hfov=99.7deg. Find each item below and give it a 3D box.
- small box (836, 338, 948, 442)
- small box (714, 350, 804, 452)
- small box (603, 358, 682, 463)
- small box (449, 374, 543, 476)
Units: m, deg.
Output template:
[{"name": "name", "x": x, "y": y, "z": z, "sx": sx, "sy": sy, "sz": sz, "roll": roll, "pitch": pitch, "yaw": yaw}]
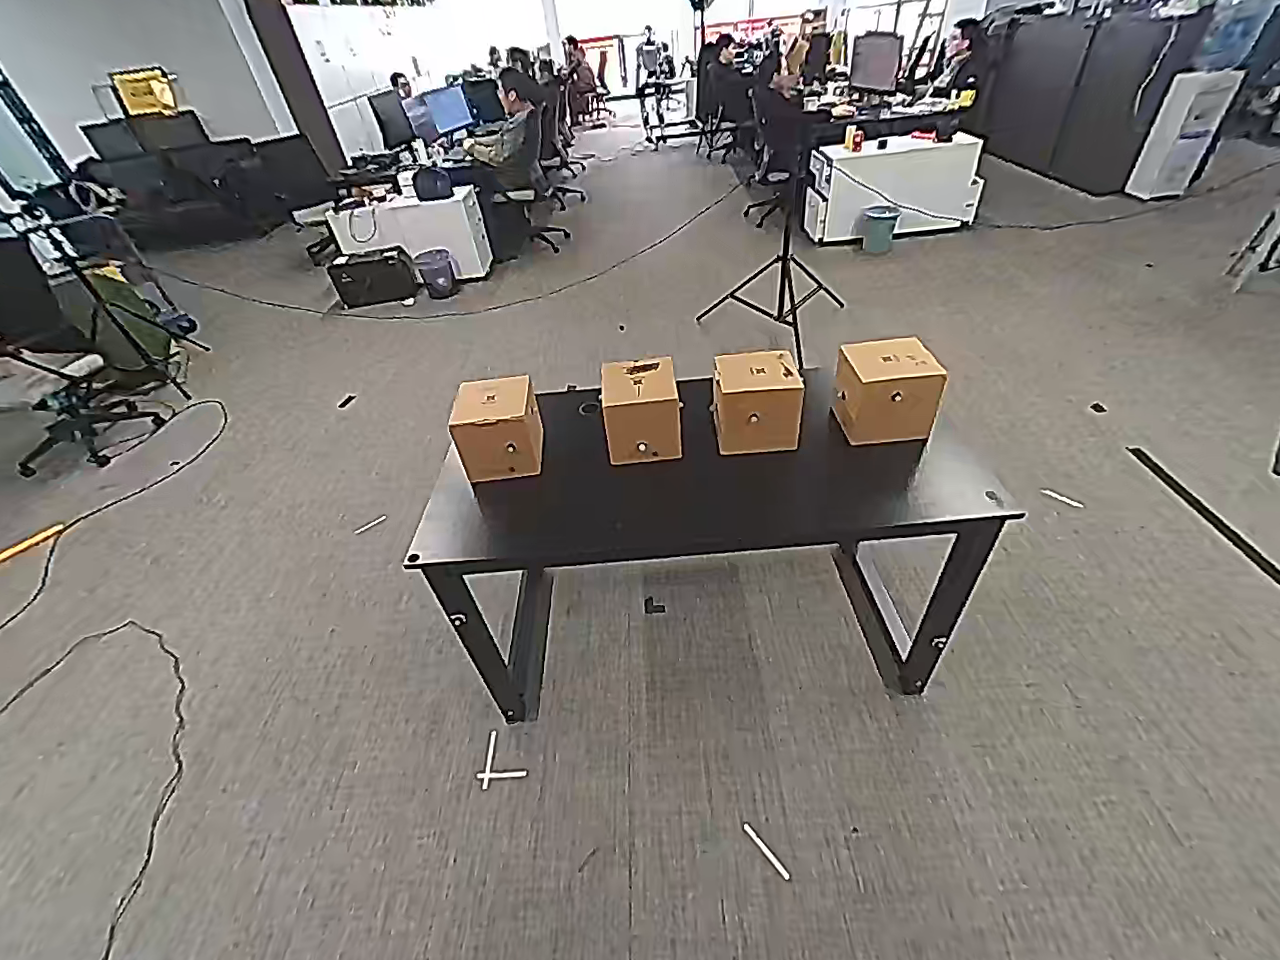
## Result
[{"name": "small box", "x": 0.552, "y": -0.198, "z": 1.216, "sx": 0.179, "sy": 0.176, "sz": 0.168, "roll": -5, "pitch": 41, "yaw": 3}, {"name": "small box", "x": 0.266, "y": -0.177, "z": 1.236, "sx": 0.179, "sy": 0.176, "sz": 0.168, "roll": -4, "pitch": 41, "yaw": 4}, {"name": "small box", "x": 0.006, "y": -0.161, "z": 1.252, "sx": 0.168, "sy": 0.176, "sz": 0.179, "roll": -6, "pitch": 42, "yaw": 2}, {"name": "small box", "x": -0.324, "y": -0.122, "z": 1.254, "sx": 0.168, "sy": 0.176, "sz": 0.179, "roll": -6, "pitch": 40, "yaw": -1}]
